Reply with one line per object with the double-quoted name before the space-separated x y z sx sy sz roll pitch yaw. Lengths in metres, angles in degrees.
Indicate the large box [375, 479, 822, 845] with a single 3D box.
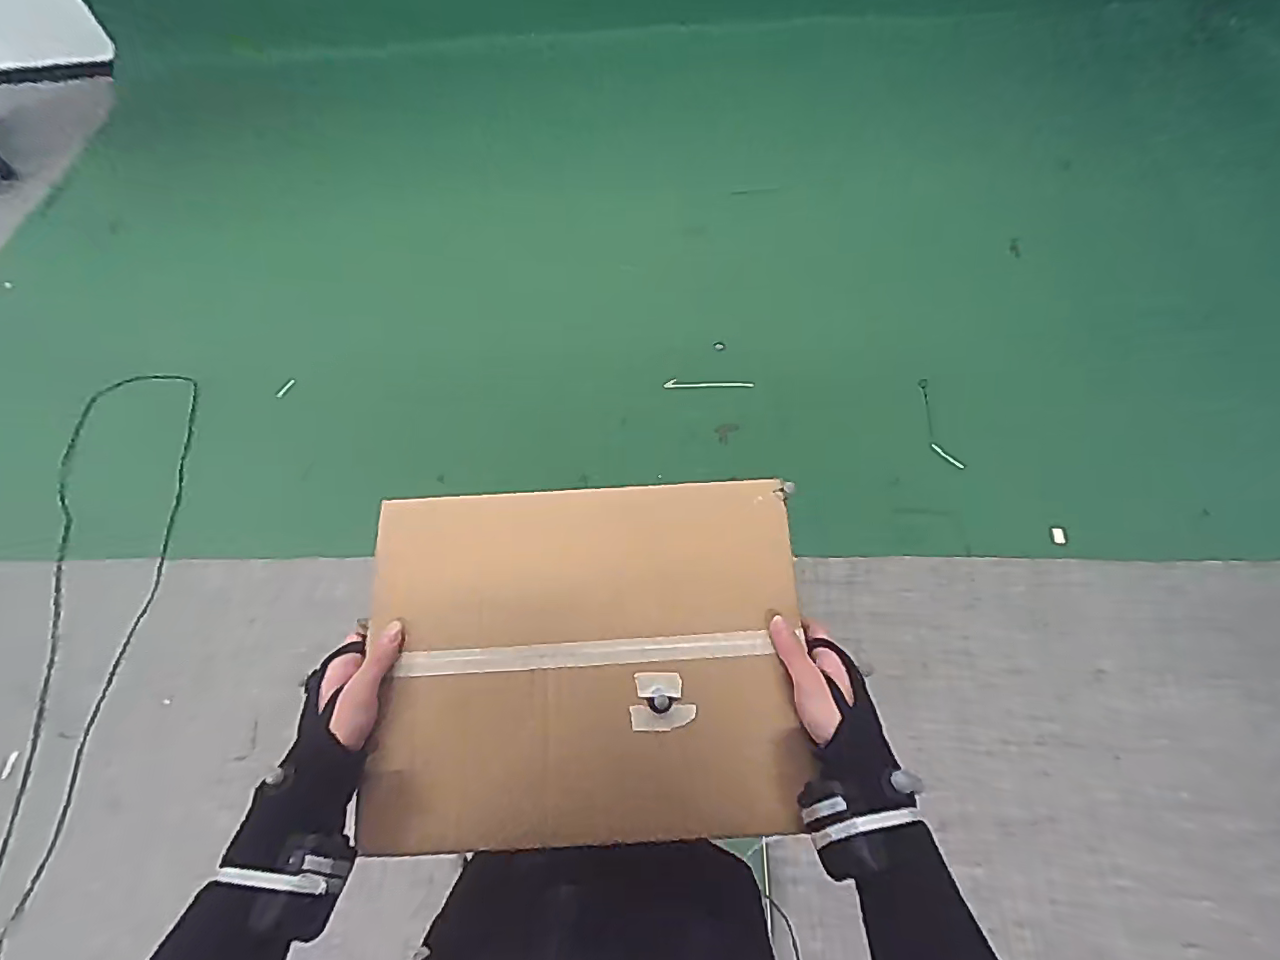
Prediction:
"large box" -0.046 0.203 0.659 0.408 0.320 0.320 -3 74 -1
